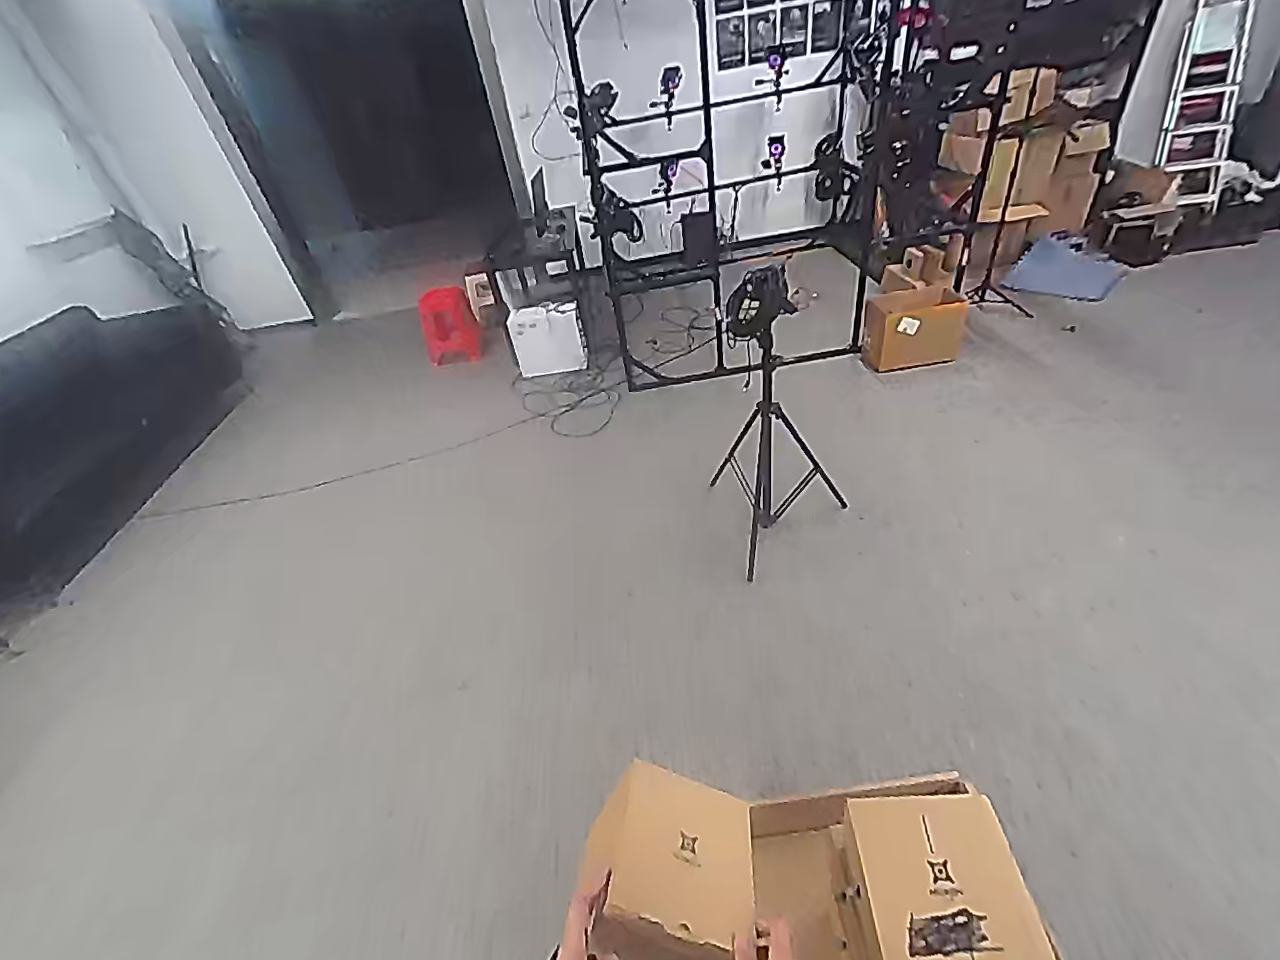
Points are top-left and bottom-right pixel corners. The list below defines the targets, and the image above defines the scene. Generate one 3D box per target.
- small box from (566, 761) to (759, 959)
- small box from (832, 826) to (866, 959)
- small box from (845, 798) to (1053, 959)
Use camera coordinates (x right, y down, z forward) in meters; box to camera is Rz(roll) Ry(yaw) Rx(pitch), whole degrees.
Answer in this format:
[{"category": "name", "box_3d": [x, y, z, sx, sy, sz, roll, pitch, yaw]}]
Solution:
[{"category": "small box", "box_3d": [0.026, 0.491, 0.649, 0.168, 0.176, 0.179, 23, 25, -3]}, {"category": "small box", "box_3d": [0.378, 0.611, 0.767, 0.168, 0.176, 0.179, -11, 38, 6]}, {"category": "small box", "box_3d": [0.348, 0.505, 0.640, 0.168, 0.176, 0.179, -7, 38, 9]}]
